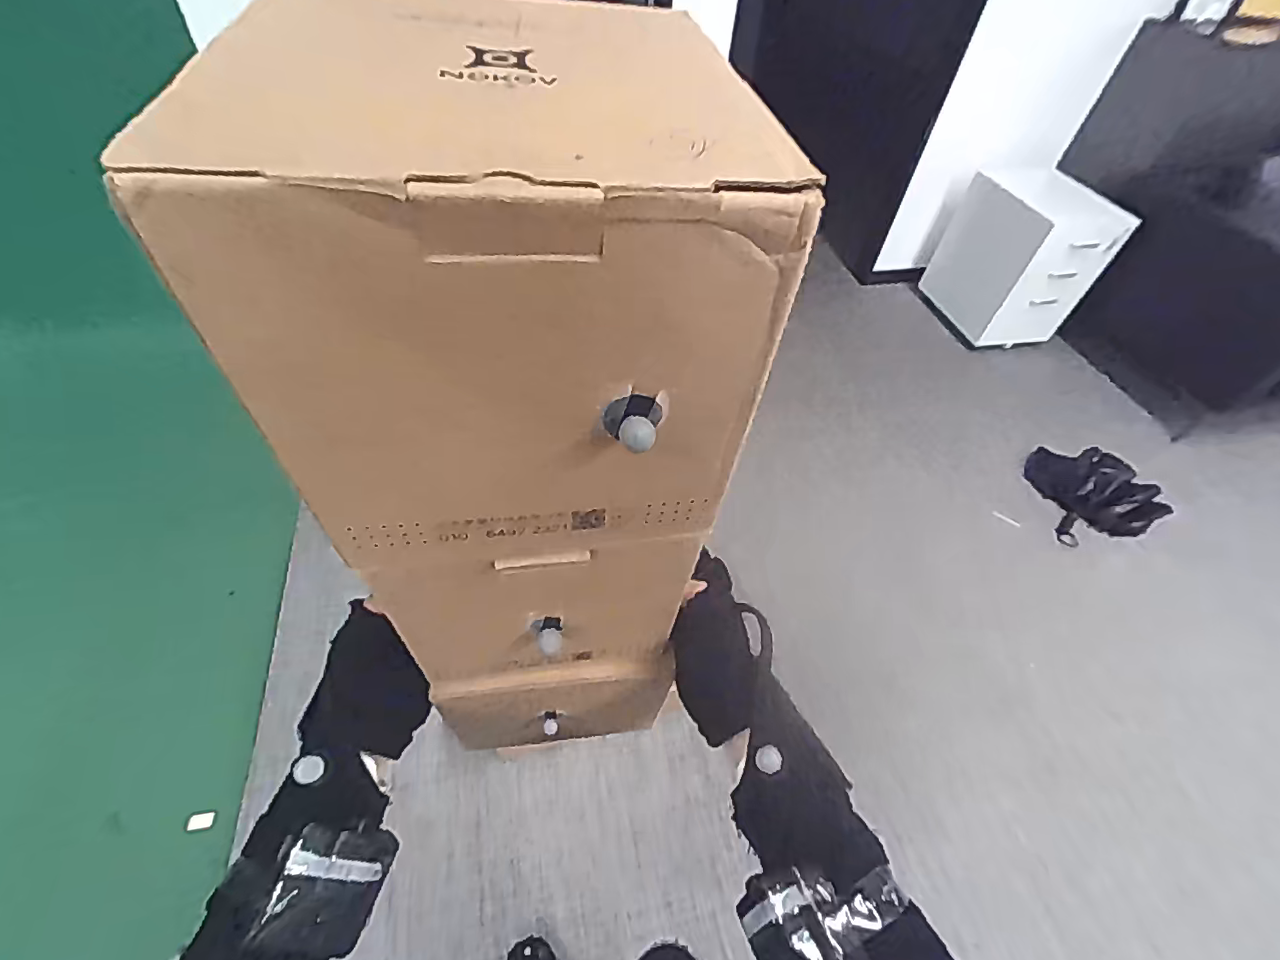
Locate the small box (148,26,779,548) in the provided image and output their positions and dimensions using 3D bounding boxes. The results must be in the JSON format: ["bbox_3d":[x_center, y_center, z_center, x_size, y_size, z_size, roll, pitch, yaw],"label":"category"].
[{"bbox_3d":[-0.058,-0.080,0.253,0.168,0.176,0.179,-4,51,-11],"label":"small box"}]

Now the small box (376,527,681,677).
[{"bbox_3d":[-0.075,0.030,0.397,0.168,0.176,0.179,-7,52,-10],"label":"small box"}]

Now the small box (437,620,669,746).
[{"bbox_3d":[-0.079,0.140,0.515,0.179,0.176,0.168,-3,52,-8],"label":"small box"}]
